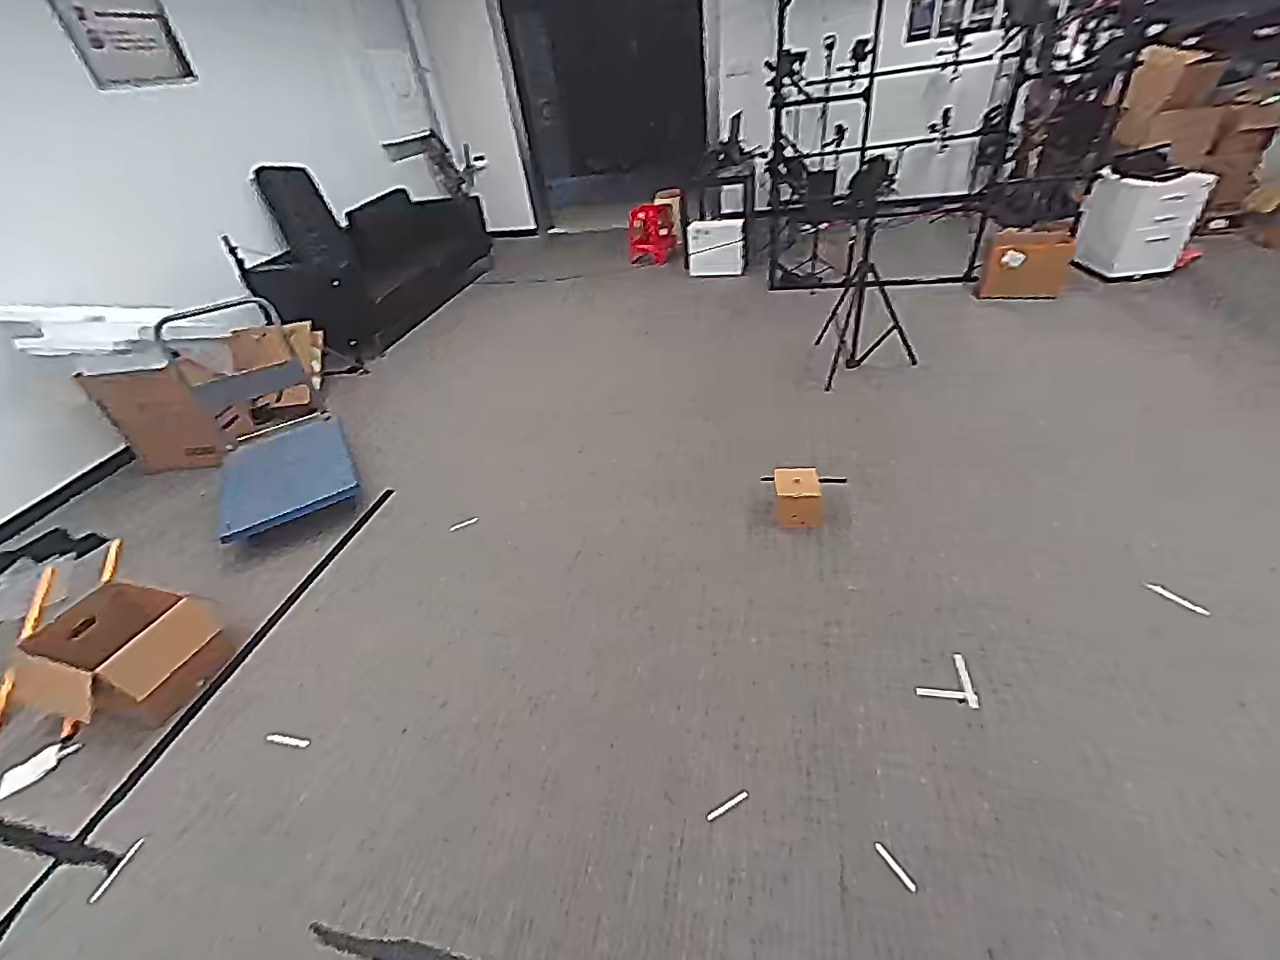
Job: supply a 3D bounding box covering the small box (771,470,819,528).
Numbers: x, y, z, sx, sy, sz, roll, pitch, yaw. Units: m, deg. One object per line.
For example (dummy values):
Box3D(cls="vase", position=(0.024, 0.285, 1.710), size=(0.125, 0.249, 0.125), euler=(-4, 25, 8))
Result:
Box3D(cls="small box", position=(0.623, 0.075, 2.190), size=(0.168, 0.176, 0.179), euler=(-2, 38, 9))
